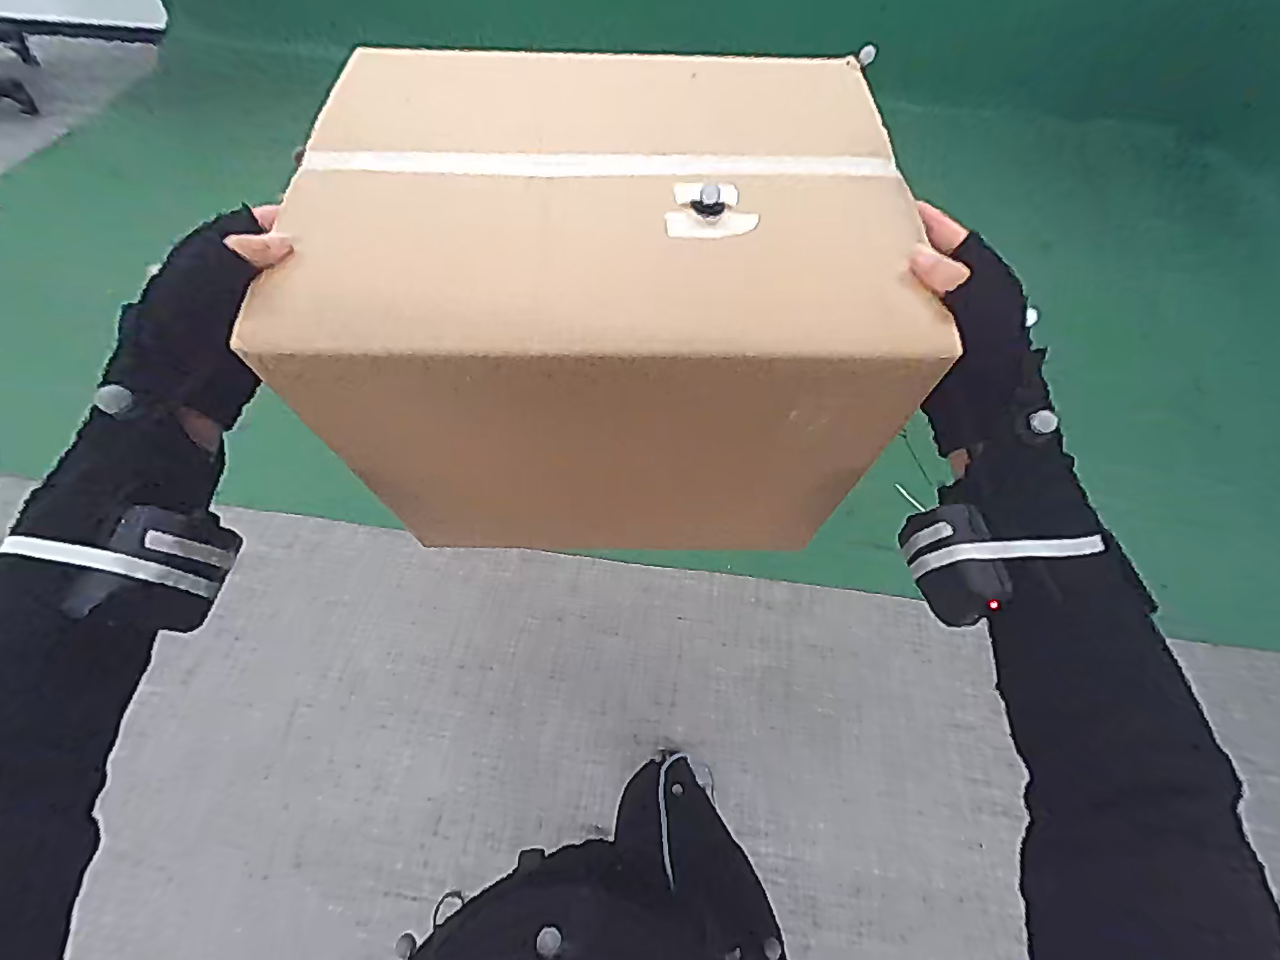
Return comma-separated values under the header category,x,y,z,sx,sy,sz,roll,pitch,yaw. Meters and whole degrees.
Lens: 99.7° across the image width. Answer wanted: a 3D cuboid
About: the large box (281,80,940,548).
category,x,y,z,sx,sy,sz,roll,pitch,yaw
large box,-0.022,-0.133,0.521,0.408,0.320,0.320,0,63,-2
